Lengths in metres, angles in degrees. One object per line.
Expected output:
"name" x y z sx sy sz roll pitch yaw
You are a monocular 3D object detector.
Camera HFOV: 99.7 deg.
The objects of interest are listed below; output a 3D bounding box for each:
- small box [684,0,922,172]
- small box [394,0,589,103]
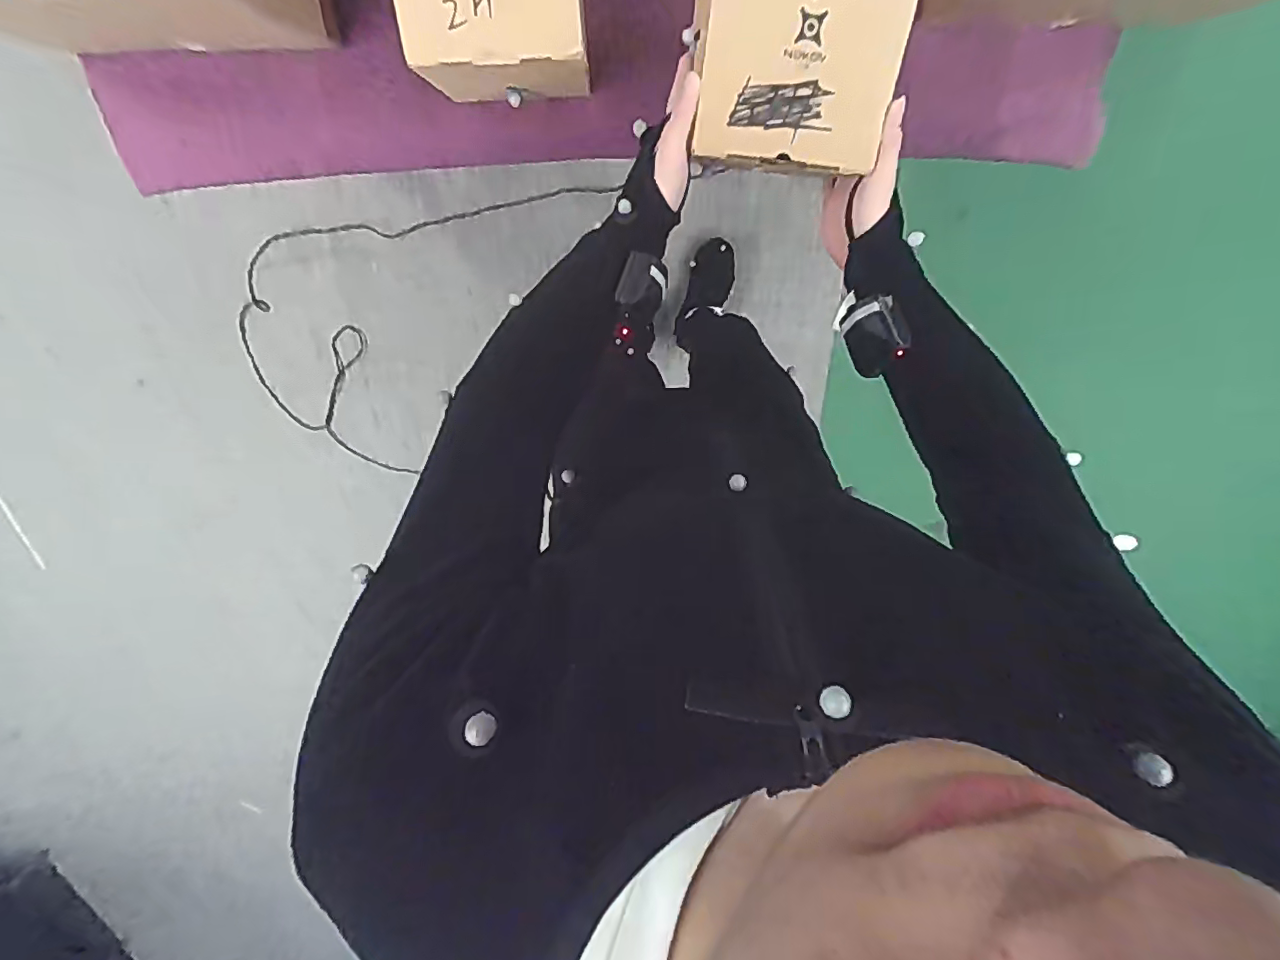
"small box" 0.136 -0.396 0.505 0.168 0.176 0.179 4 117 -4
"small box" -0.140 -0.494 0.530 0.168 0.176 0.179 -4 116 -1
